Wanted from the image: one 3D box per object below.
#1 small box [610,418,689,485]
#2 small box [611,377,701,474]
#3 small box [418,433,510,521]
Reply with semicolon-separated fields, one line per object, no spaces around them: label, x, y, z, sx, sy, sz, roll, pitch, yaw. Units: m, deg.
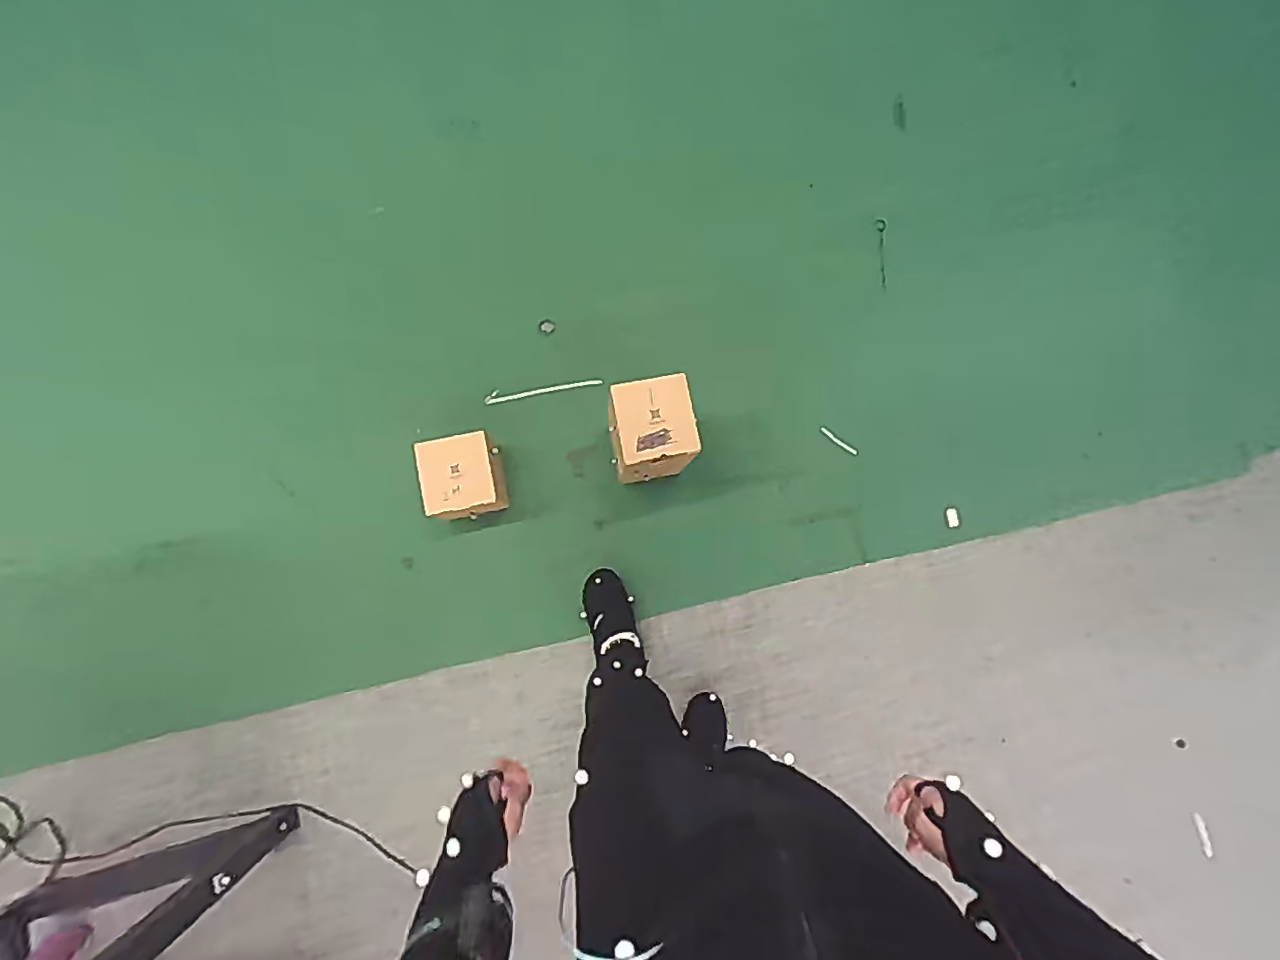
small box;0.018;-0.093;1.380;0.168;0.176;0.179;-11;84;-6
small box;0.030;-0.113;1.217;0.168;0.176;0.179;-10;83;-6
small box;-0.428;-0.002;1.337;0.168;0.176;0.179;-11;83;-4
